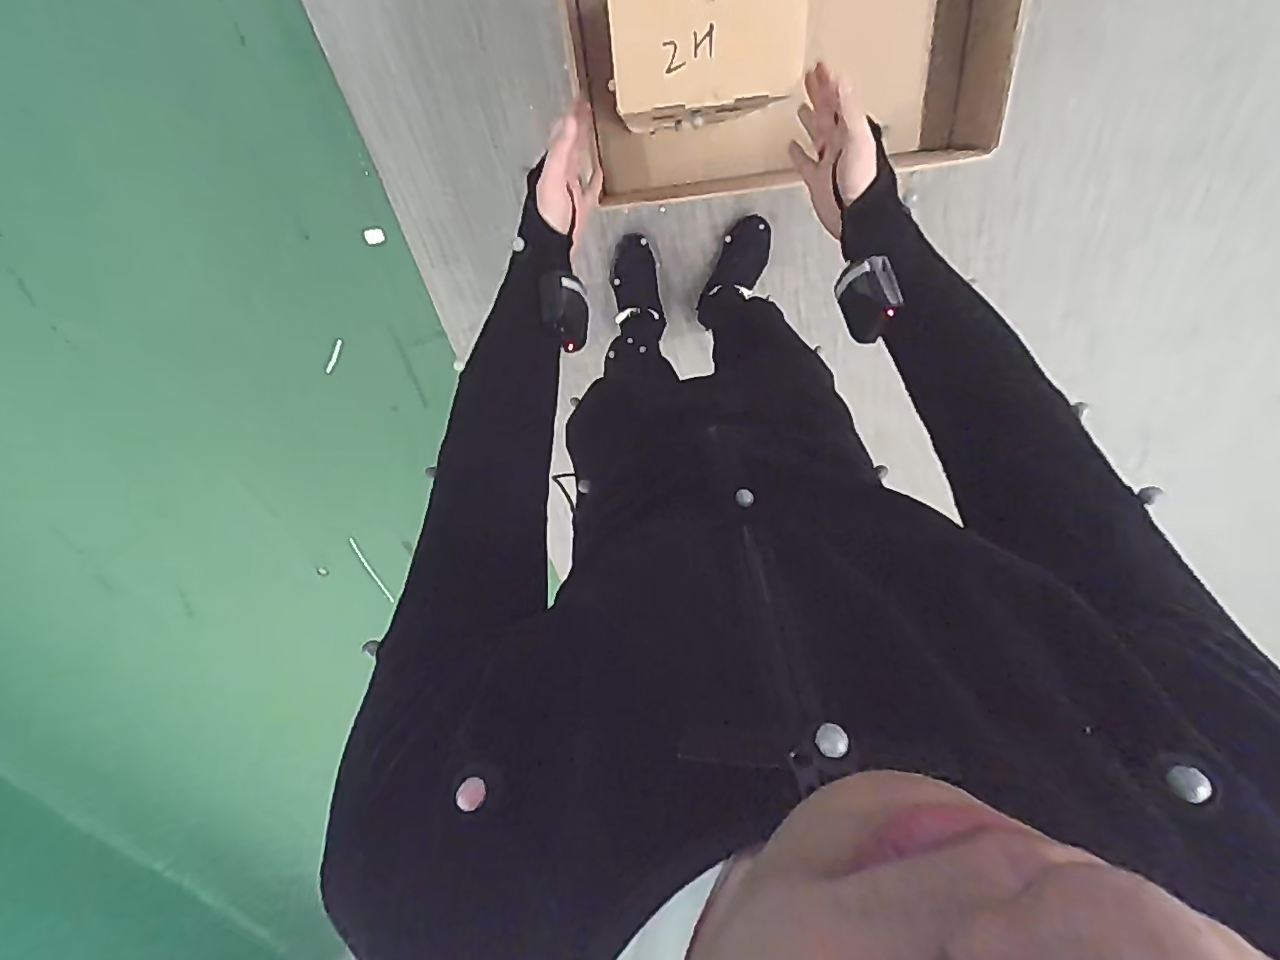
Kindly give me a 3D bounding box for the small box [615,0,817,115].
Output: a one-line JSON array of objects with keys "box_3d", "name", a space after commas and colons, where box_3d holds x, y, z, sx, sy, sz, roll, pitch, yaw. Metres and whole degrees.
[{"box_3d": [0.060, -0.446, 0.495, 0.168, 0.176, 0.179, -4, 124, 3], "name": "small box"}]
